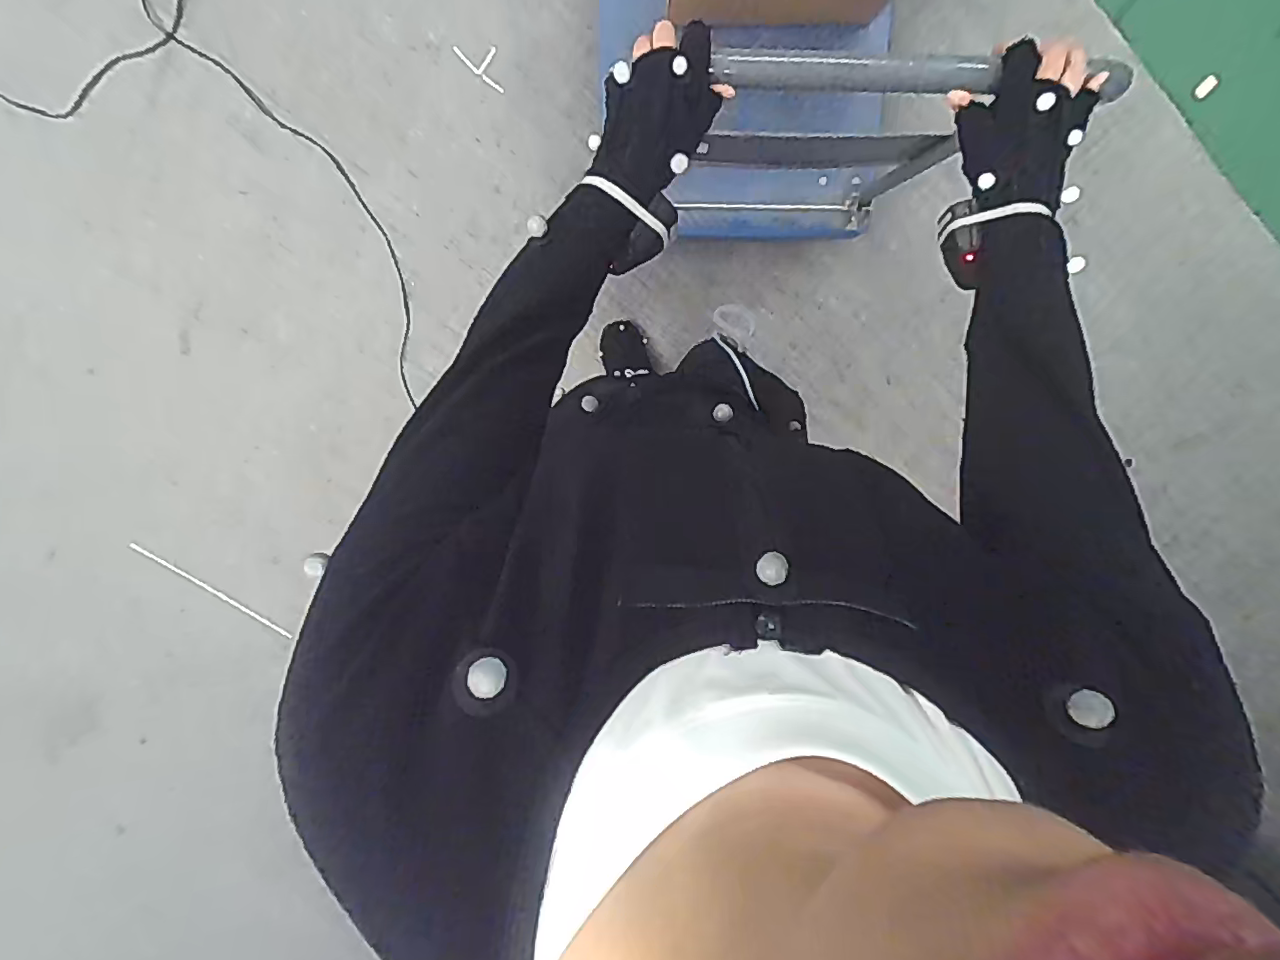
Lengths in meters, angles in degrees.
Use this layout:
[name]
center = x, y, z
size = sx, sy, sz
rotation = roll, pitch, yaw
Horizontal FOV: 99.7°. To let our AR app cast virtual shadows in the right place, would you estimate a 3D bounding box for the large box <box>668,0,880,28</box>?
[large box]
center = 0.250, -1.000, 0.877
size = 0.408, 0.320, 0.320
rotation = -3, 105, 0
